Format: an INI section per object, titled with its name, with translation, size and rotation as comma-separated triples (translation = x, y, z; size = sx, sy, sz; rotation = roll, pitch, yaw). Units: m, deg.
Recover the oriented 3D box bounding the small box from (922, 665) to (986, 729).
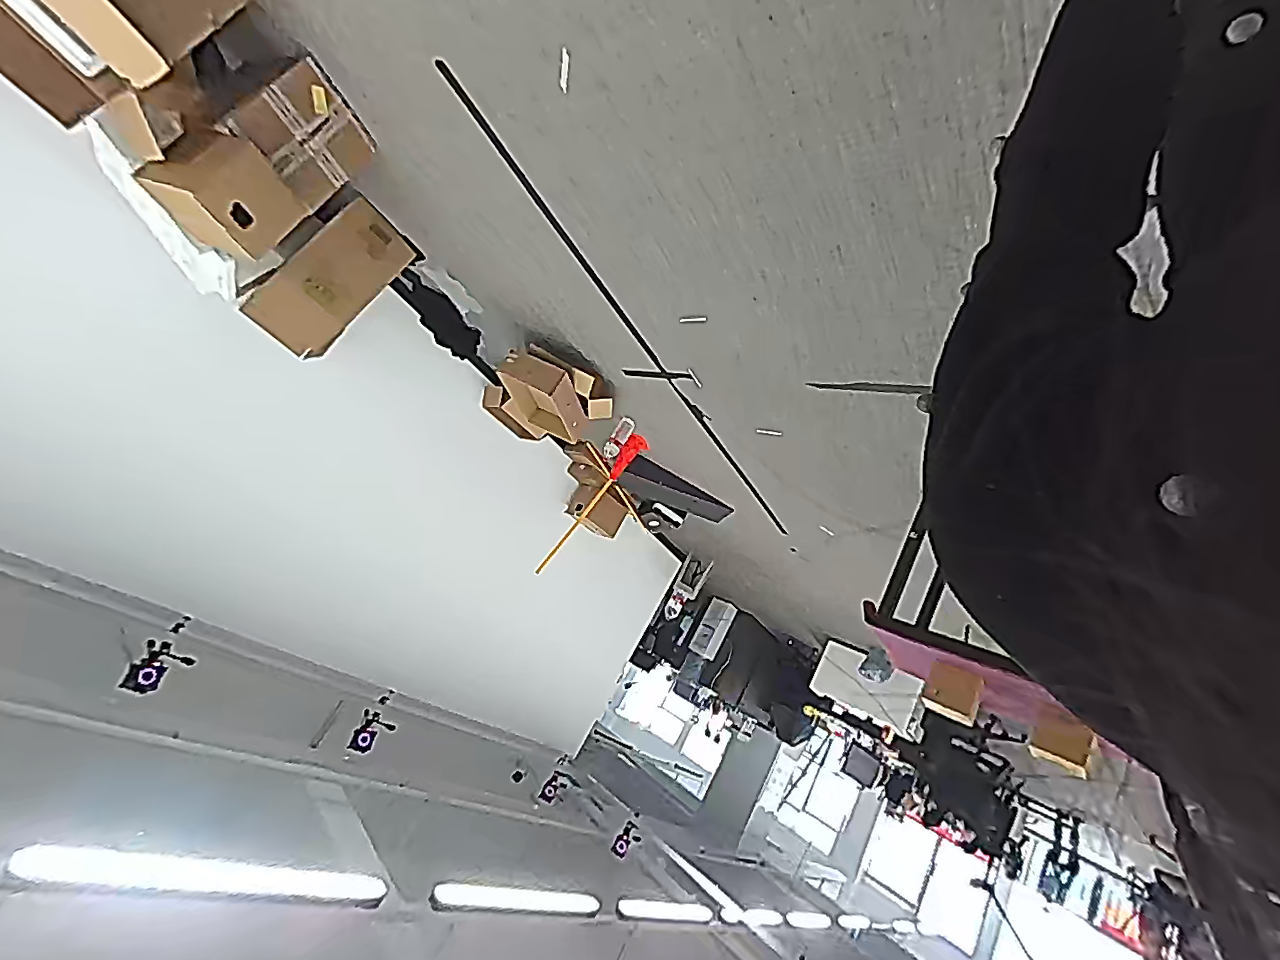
[small box]
translation = 1.264, 0.867, 2.176
size = 0.179, 0.176, 0.168
rotation = 14, 157, 43
